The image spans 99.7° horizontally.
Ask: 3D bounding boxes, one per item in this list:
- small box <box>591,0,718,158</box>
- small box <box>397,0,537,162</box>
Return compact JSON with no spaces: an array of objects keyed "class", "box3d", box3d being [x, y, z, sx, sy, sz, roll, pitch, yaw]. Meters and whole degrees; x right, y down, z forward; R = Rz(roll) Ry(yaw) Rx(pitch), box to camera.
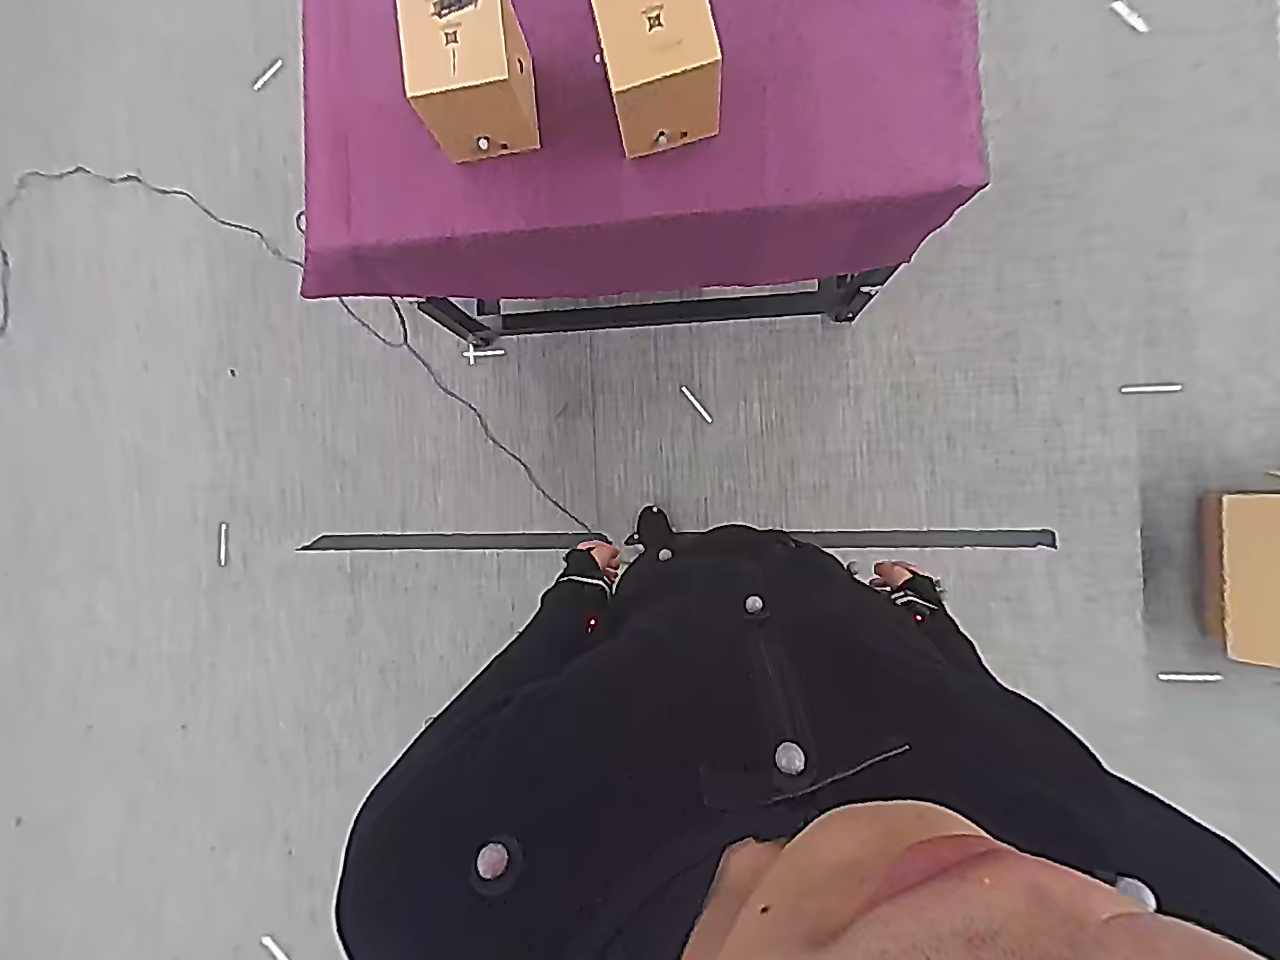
[{"class":"small box","box3d":[0.025,-0.669,0.871,0.168,0.176,0.179,-13,86,6]},{"class":"small box","box3d":[-0.280,-0.675,0.902,0.168,0.176,0.179,-7,88,6]}]
